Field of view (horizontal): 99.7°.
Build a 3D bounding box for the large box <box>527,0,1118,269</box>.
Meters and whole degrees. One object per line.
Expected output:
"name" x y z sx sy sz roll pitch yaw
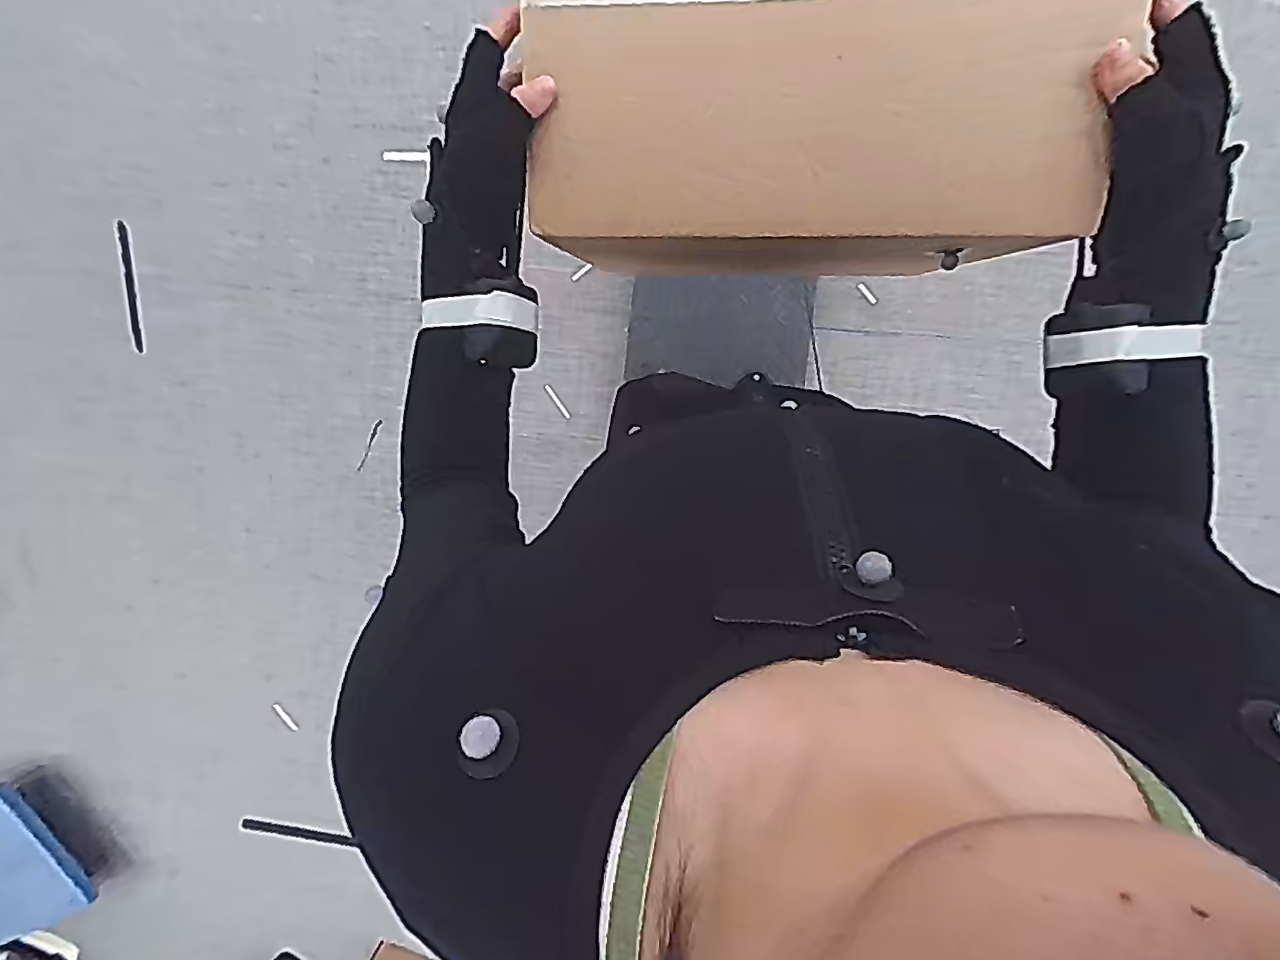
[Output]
"large box" 0.131 -0.372 0.507 0.408 0.320 0.320 2 106 4
